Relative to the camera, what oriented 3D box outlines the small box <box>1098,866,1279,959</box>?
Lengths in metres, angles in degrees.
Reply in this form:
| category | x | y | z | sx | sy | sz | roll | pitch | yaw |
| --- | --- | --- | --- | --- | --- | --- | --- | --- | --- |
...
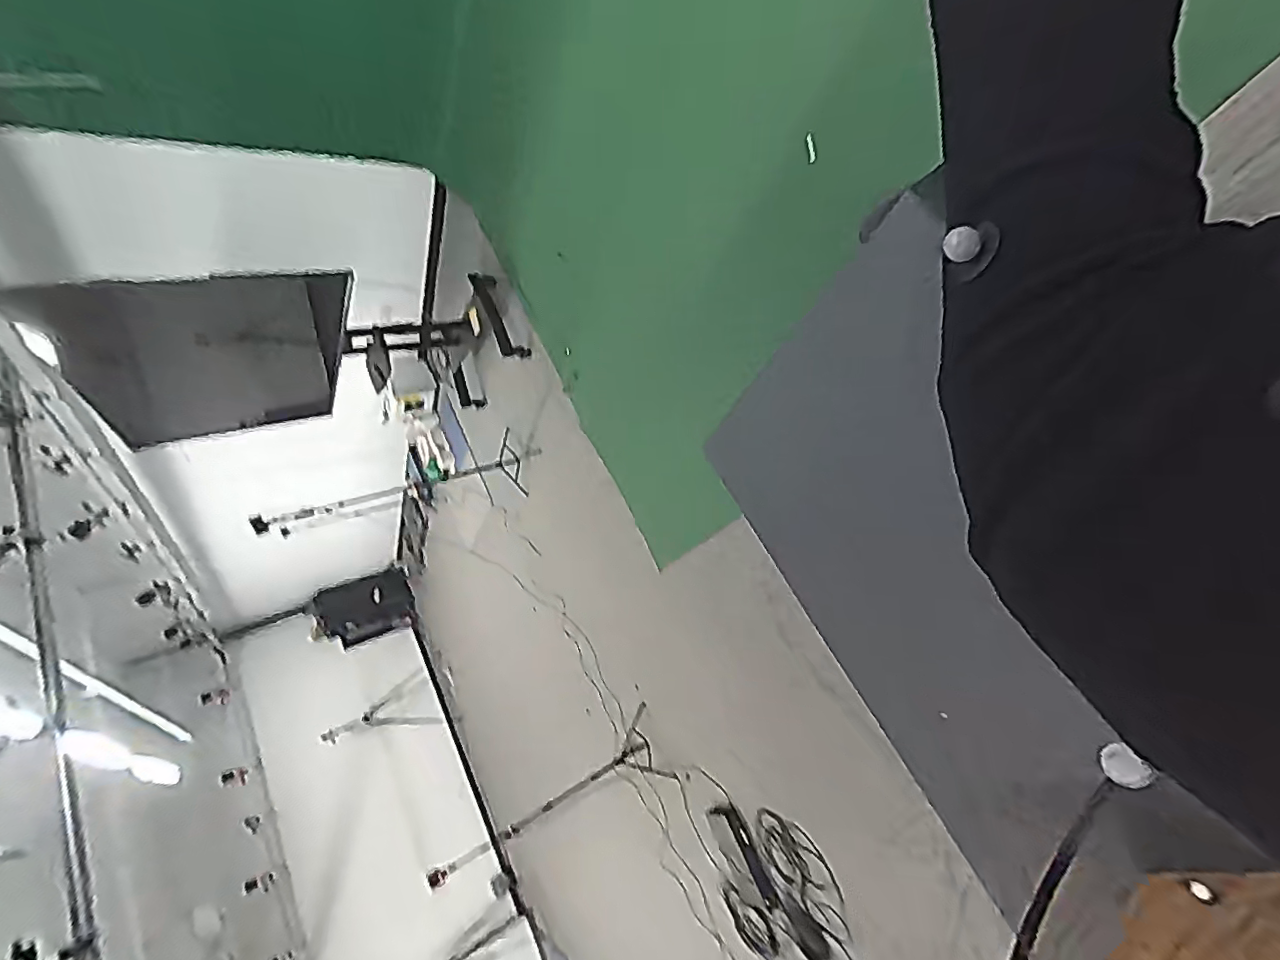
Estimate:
| category | x | y | z | sx | sy | sz | roll | pitch | yaw |
| --- | --- | --- | --- | --- | --- | --- | --- | --- | --- |
| small box | 0.648 | 0.545 | 0.561 | 0.179 | 0.176 | 0.168 | 59 | 143 | 22 |
